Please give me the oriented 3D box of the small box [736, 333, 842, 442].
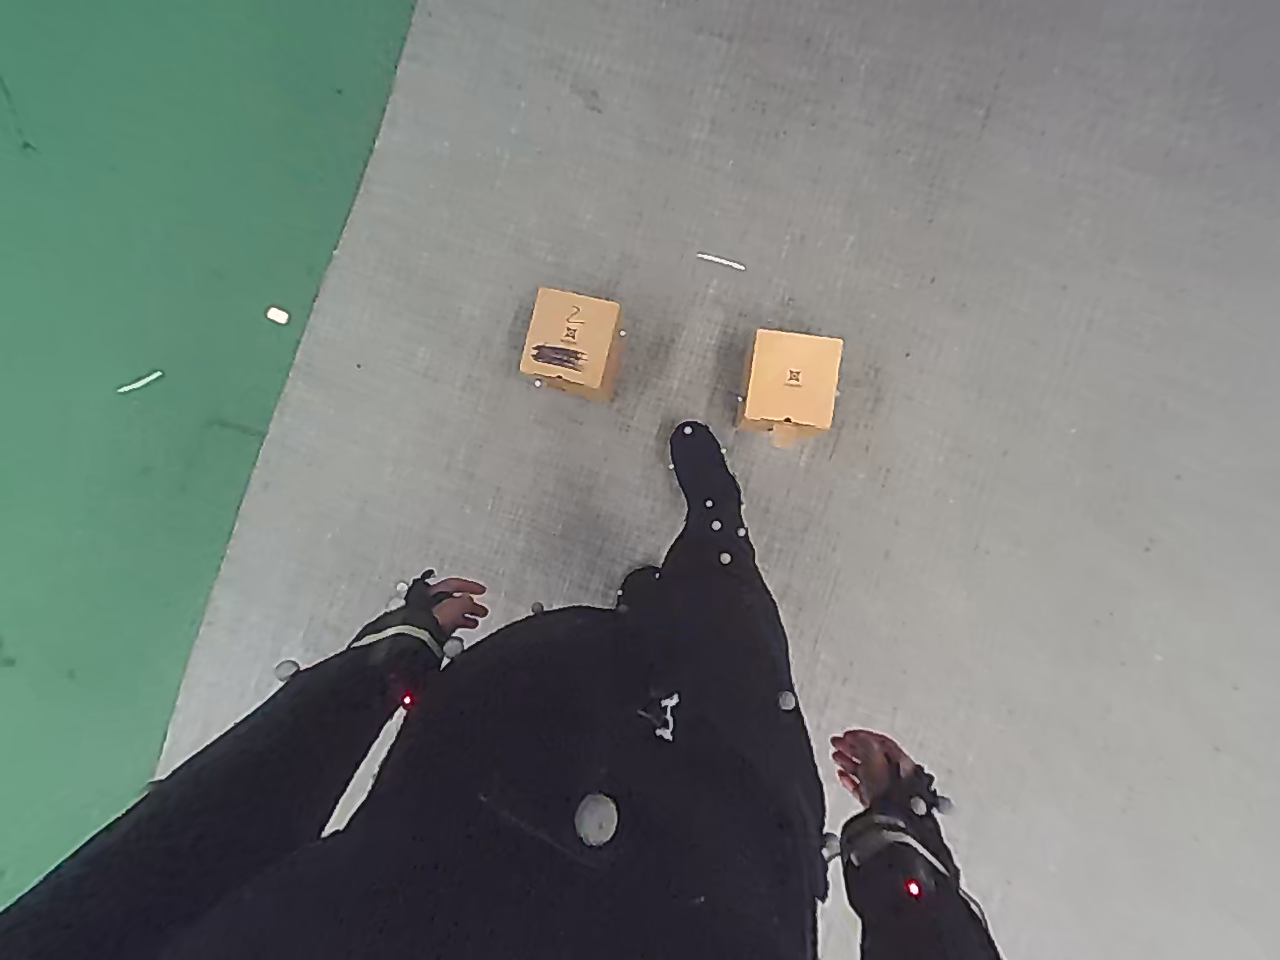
[{"bbox_3d":[0.297,-0.182,1.111,0.168,0.176,0.179,8,89,4],"label":"small box"}]
